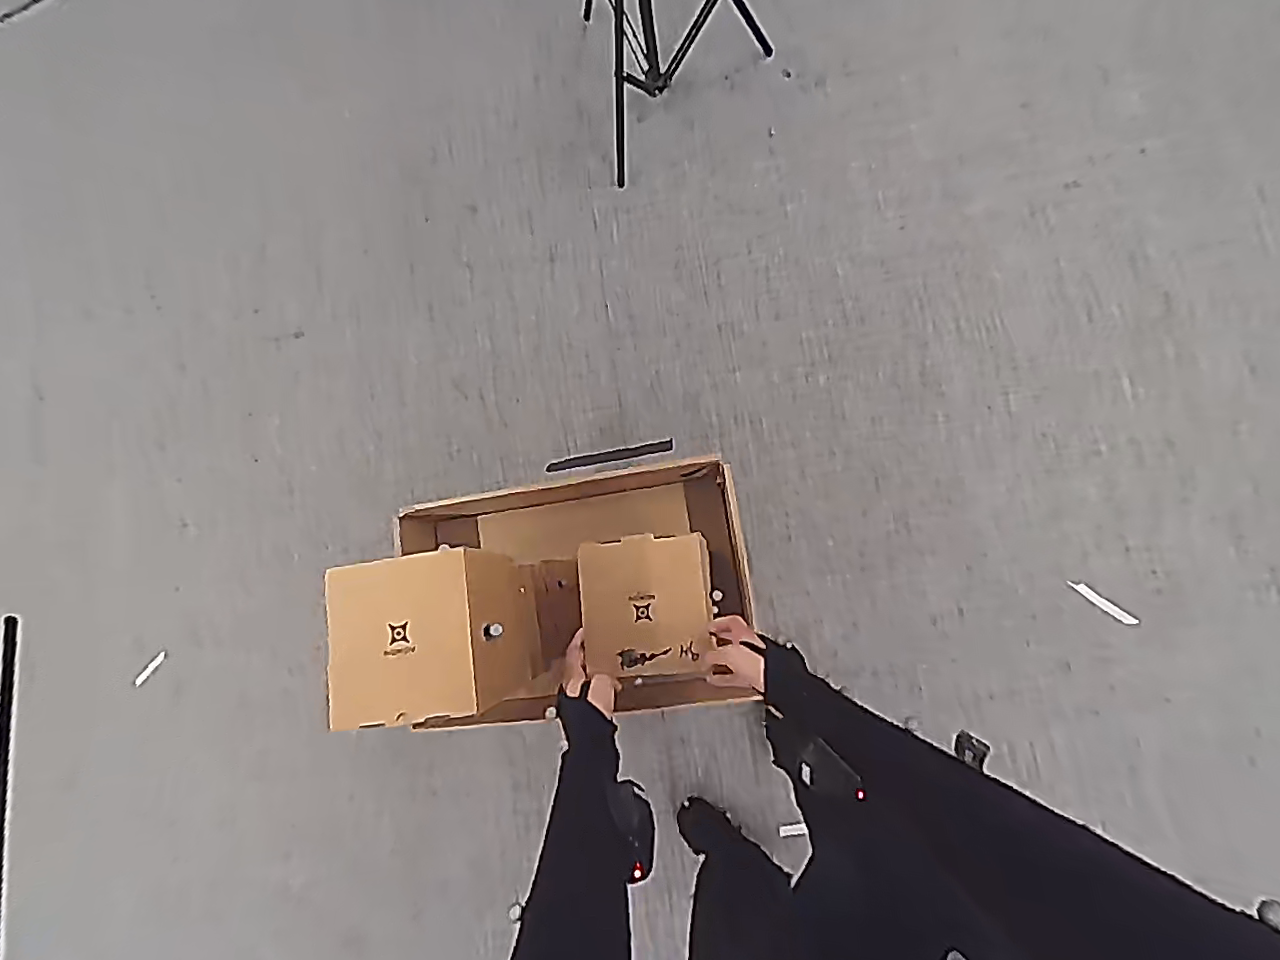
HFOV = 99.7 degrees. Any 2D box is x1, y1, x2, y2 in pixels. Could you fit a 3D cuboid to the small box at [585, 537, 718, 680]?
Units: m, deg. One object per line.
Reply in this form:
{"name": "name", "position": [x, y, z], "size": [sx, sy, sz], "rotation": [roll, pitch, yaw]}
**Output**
{"name": "small box", "position": [0.023, 0.180, 0.775], "size": [0.168, 0.176, 0.179], "rotation": [-6, 80, 9]}

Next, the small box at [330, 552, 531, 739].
{"name": "small box", "position": [-0.241, 0.188, 0.653], "size": [0.168, 0.176, 0.179], "rotation": [-10, 80, 5]}

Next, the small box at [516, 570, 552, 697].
{"name": "small box", "position": [-0.244, 0.233, 0.812], "size": [0.168, 0.176, 0.179], "rotation": [-13, 80, 5]}
